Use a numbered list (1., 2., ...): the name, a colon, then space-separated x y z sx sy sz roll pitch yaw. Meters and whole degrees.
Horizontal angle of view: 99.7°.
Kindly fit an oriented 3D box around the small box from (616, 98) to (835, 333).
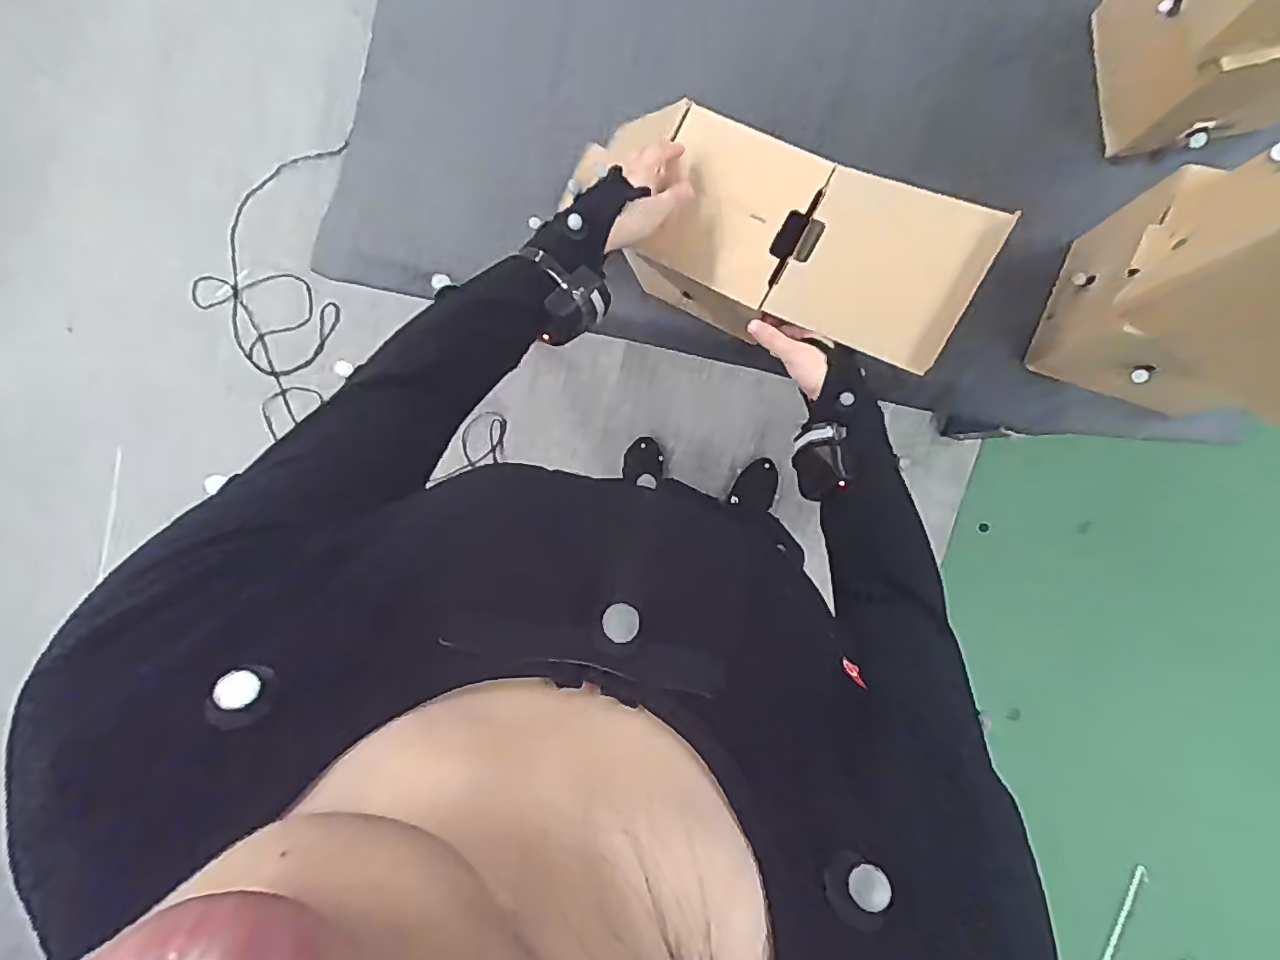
1. small box: 0.101 -0.292 0.642 0.179 0.176 0.168 30 97 9

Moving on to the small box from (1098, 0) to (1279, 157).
1. small box: 0.607 -0.471 0.547 0.168 0.176 0.179 -7 94 13

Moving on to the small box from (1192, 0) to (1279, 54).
1. small box: 0.555 -0.466 0.389 0.168 0.176 0.179 -3 93 13

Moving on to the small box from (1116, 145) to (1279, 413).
1. small box: 0.533 -0.167 0.406 0.179 0.176 0.168 43 96 5

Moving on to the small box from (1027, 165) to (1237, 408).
1. small box: 0.560 -0.185 0.567 0.179 0.176 0.168 22 93 9
